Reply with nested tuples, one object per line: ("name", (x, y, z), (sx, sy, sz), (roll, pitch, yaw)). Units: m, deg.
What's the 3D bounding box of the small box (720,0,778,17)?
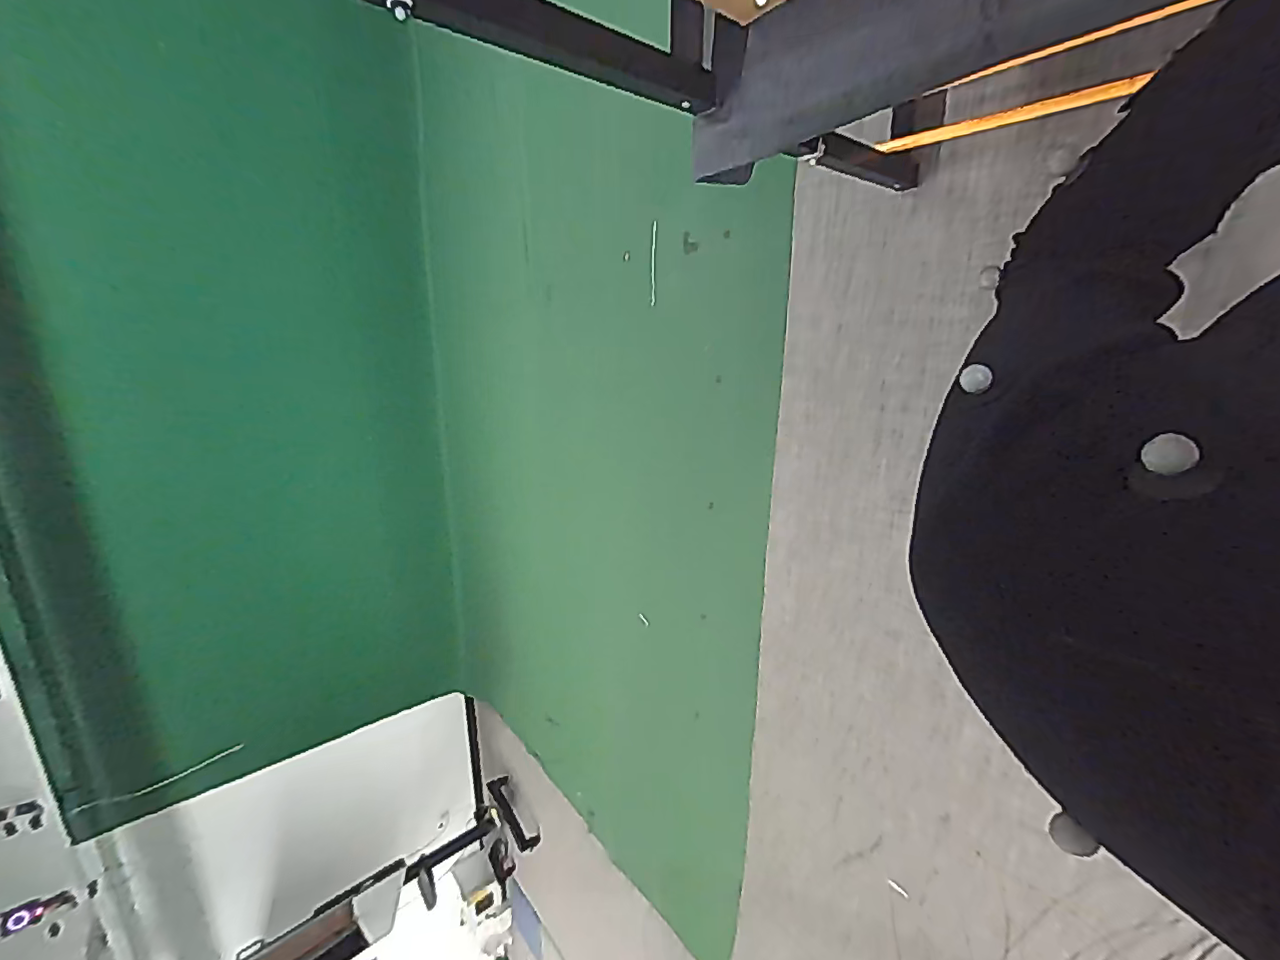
("small box", (0.155, -0.796, 0.739), (0.168, 0.176, 0.179), (14, 111, 49))
